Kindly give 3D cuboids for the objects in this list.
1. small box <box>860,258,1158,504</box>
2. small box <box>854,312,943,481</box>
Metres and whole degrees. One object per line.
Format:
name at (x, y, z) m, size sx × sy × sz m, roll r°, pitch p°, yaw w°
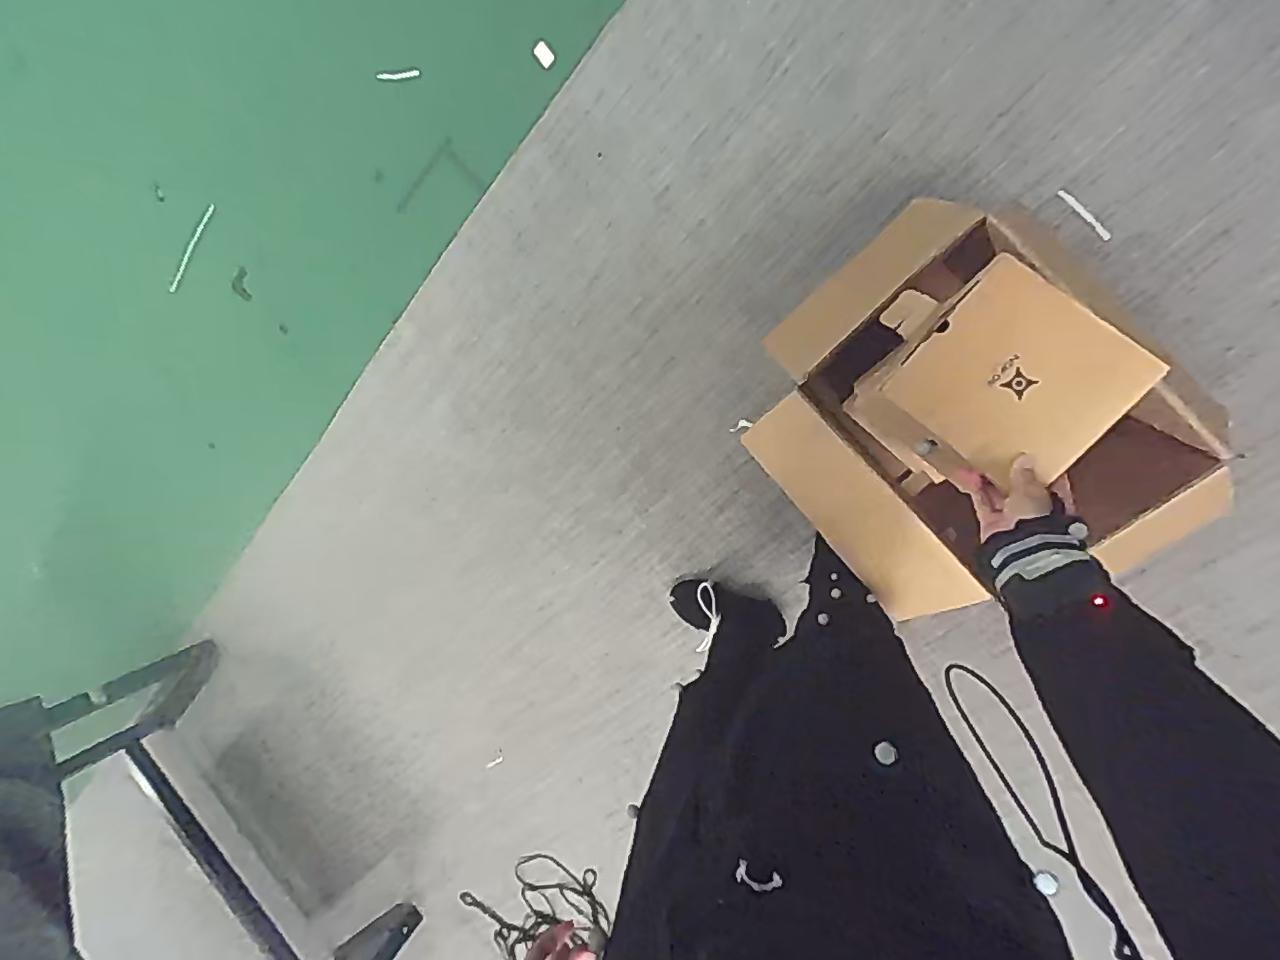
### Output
small box at (0.369, -0.098, 0.585) m, size 0.179 × 0.176 × 0.168 m, roll 42°, pitch 102°, yaw 9°
small box at (0.419, -0.128, 0.753) m, size 0.179 × 0.176 × 0.168 m, roll -40°, pitch 88°, yaw 24°
